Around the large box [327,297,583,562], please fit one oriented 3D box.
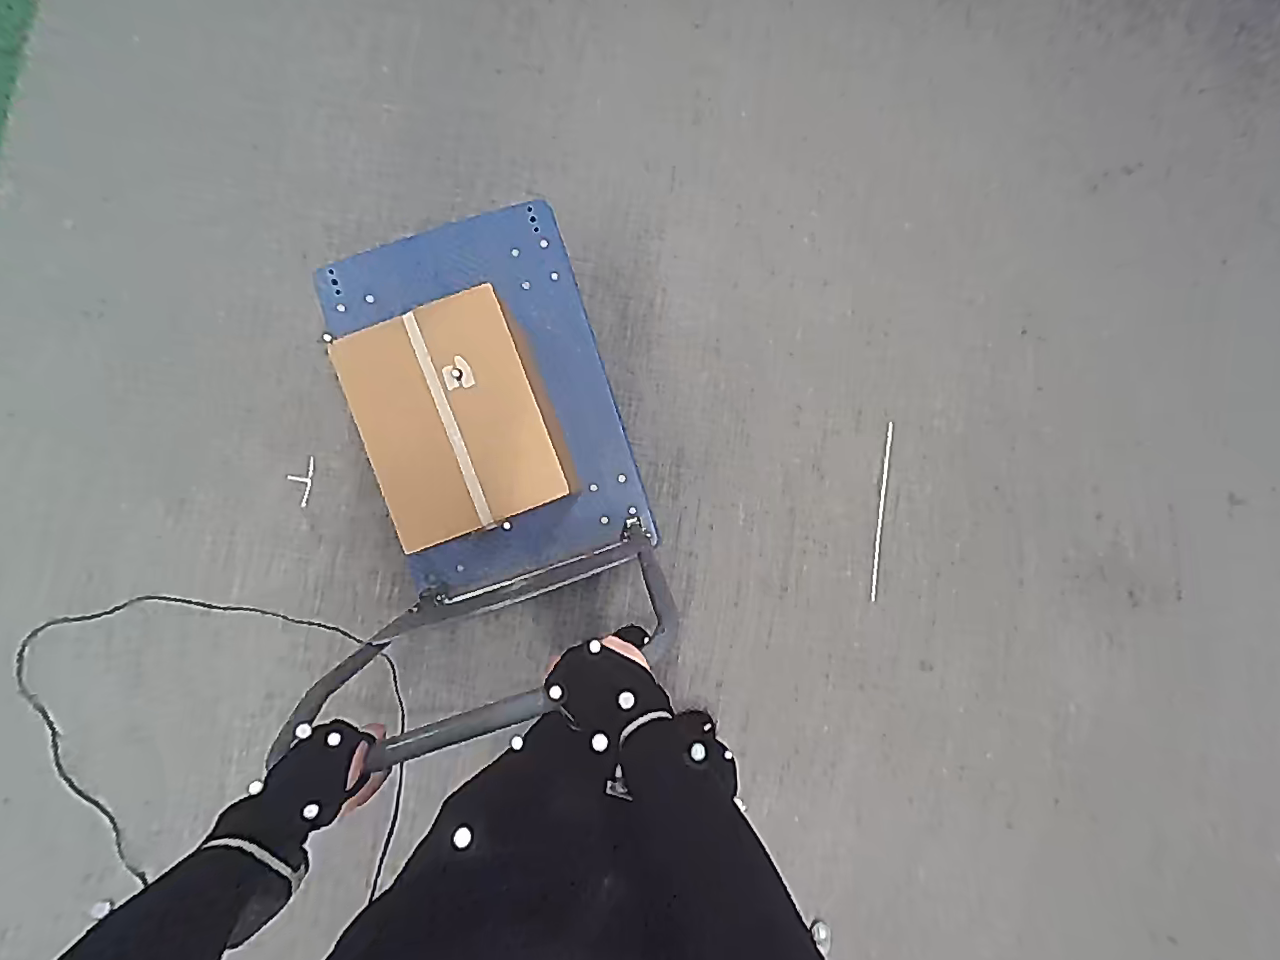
[{"bbox_3d":[-0.344,-0.090,1.114,0.320,0.320,0.408,-22,90,-1],"label":"large box"}]
